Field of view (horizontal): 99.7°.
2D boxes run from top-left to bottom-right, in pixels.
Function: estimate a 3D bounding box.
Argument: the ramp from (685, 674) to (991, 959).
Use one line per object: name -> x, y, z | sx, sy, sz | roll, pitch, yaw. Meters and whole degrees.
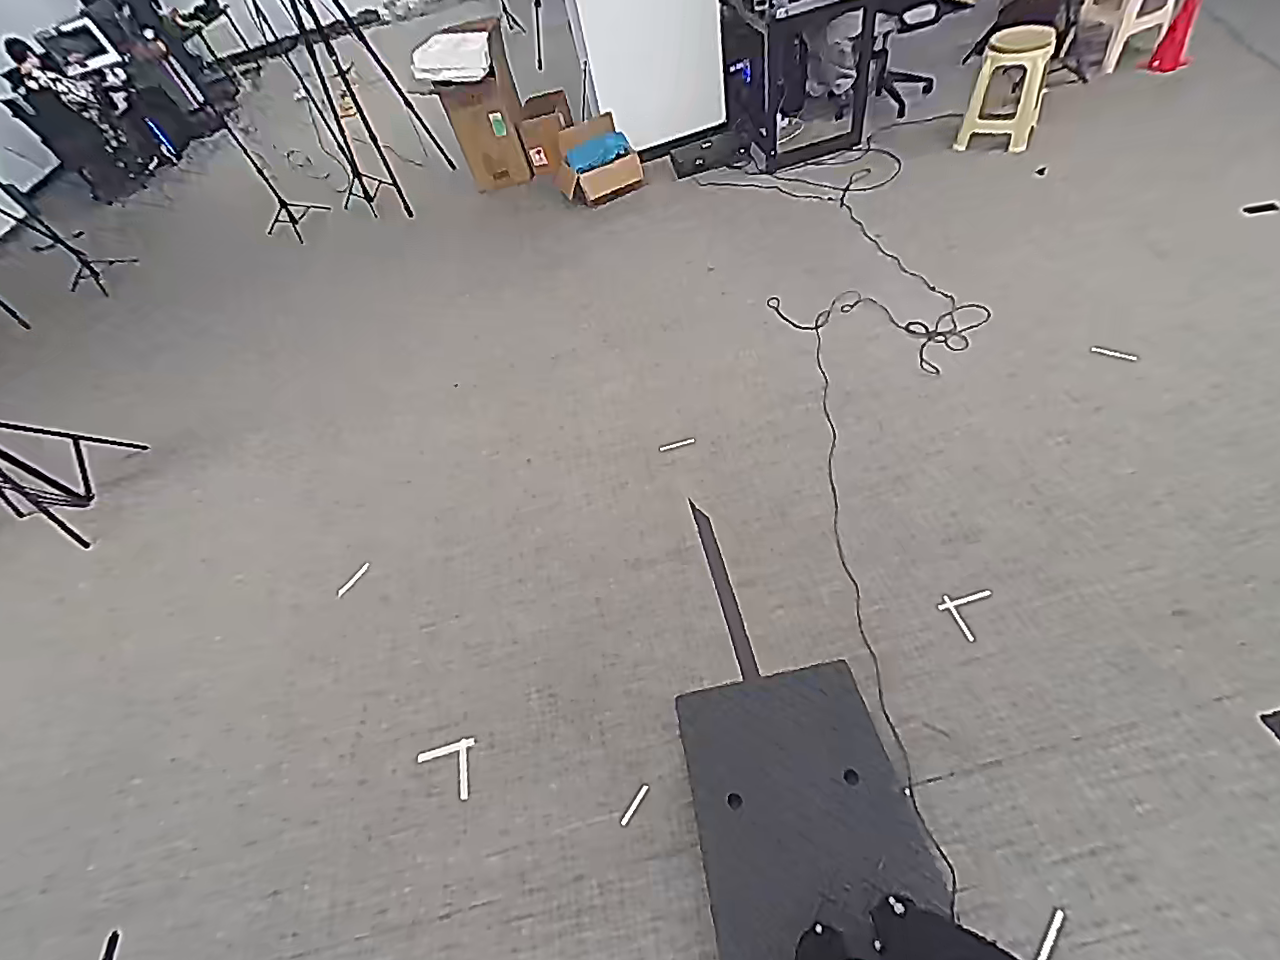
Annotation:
ramp -> 0.420, 0.913, 1.132 | 0.509, 0.206, 0.991 | -18, 49, 3
